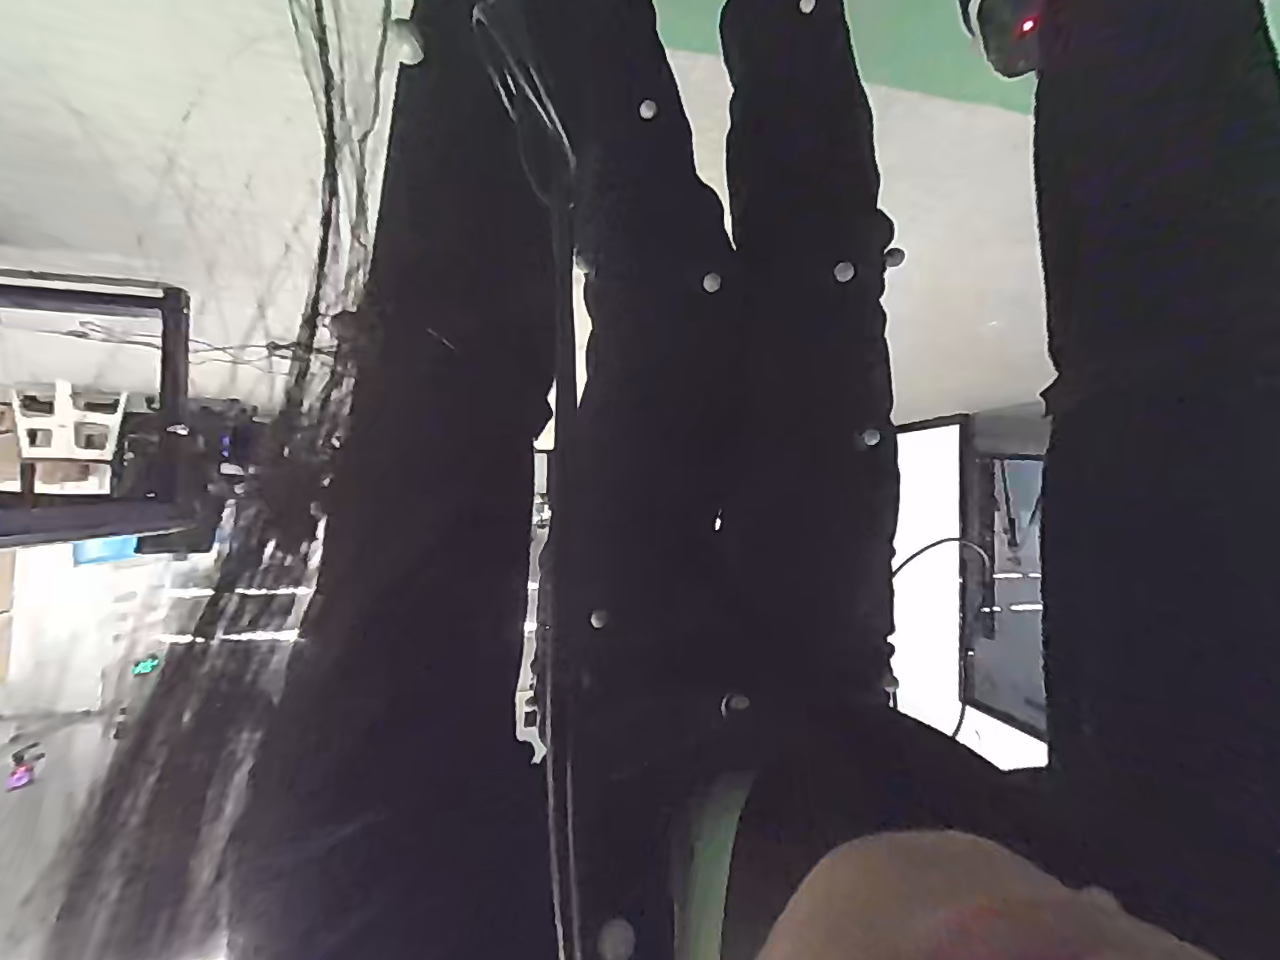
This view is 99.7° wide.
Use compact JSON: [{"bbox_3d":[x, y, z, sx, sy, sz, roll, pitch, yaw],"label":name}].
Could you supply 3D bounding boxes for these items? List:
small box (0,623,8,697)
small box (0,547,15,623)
[{"bbox_3d":[-1.477,0.387,1.112,0.179,0.176,0.168,2,177,-12],"label":"small box"},{"bbox_3d":[-1.472,0.225,1.121,0.179,0.176,0.168,2,178,-12],"label":"small box"}]
